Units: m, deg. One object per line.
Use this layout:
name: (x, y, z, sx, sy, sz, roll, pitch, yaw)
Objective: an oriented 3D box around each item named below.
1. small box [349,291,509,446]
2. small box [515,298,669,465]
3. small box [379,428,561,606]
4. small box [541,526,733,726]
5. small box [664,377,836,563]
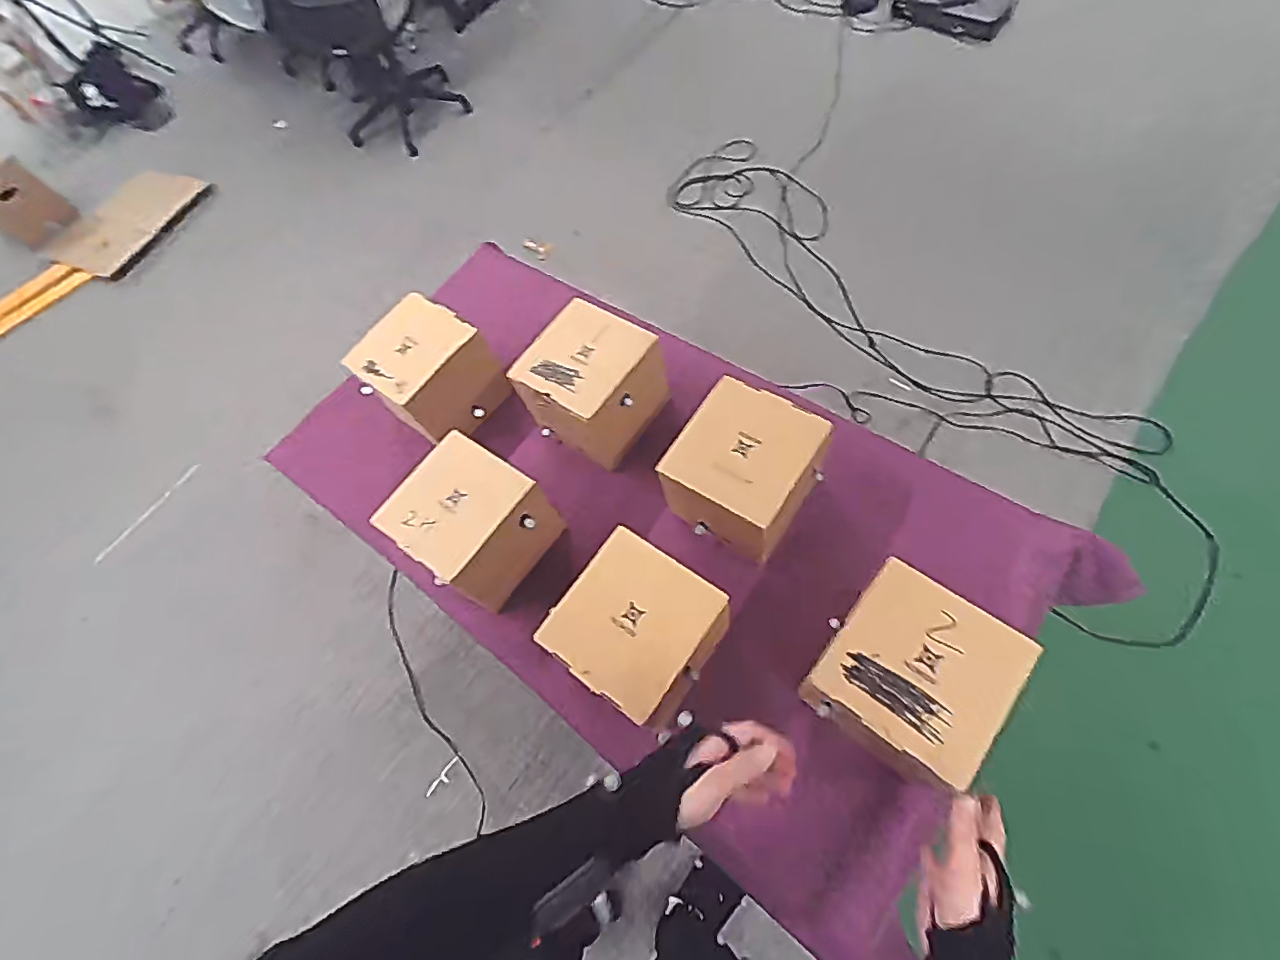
small box: (-0.354, -0.187, 0.950, 0.168, 0.176, 0.179, 33, 74, 24)
small box: (-0.067, -0.154, 0.887, 0.168, 0.176, 0.179, 32, 73, 22)
small box: (-0.239, 0.061, 0.812, 0.168, 0.176, 0.179, 32, 73, 22)
small box: (0.004, 0.195, 0.709, 0.168, 0.176, 0.179, 32, 74, 22)
small box: (0.155, -0.009, 0.781, 0.168, 0.176, 0.179, 31, 75, 23)
